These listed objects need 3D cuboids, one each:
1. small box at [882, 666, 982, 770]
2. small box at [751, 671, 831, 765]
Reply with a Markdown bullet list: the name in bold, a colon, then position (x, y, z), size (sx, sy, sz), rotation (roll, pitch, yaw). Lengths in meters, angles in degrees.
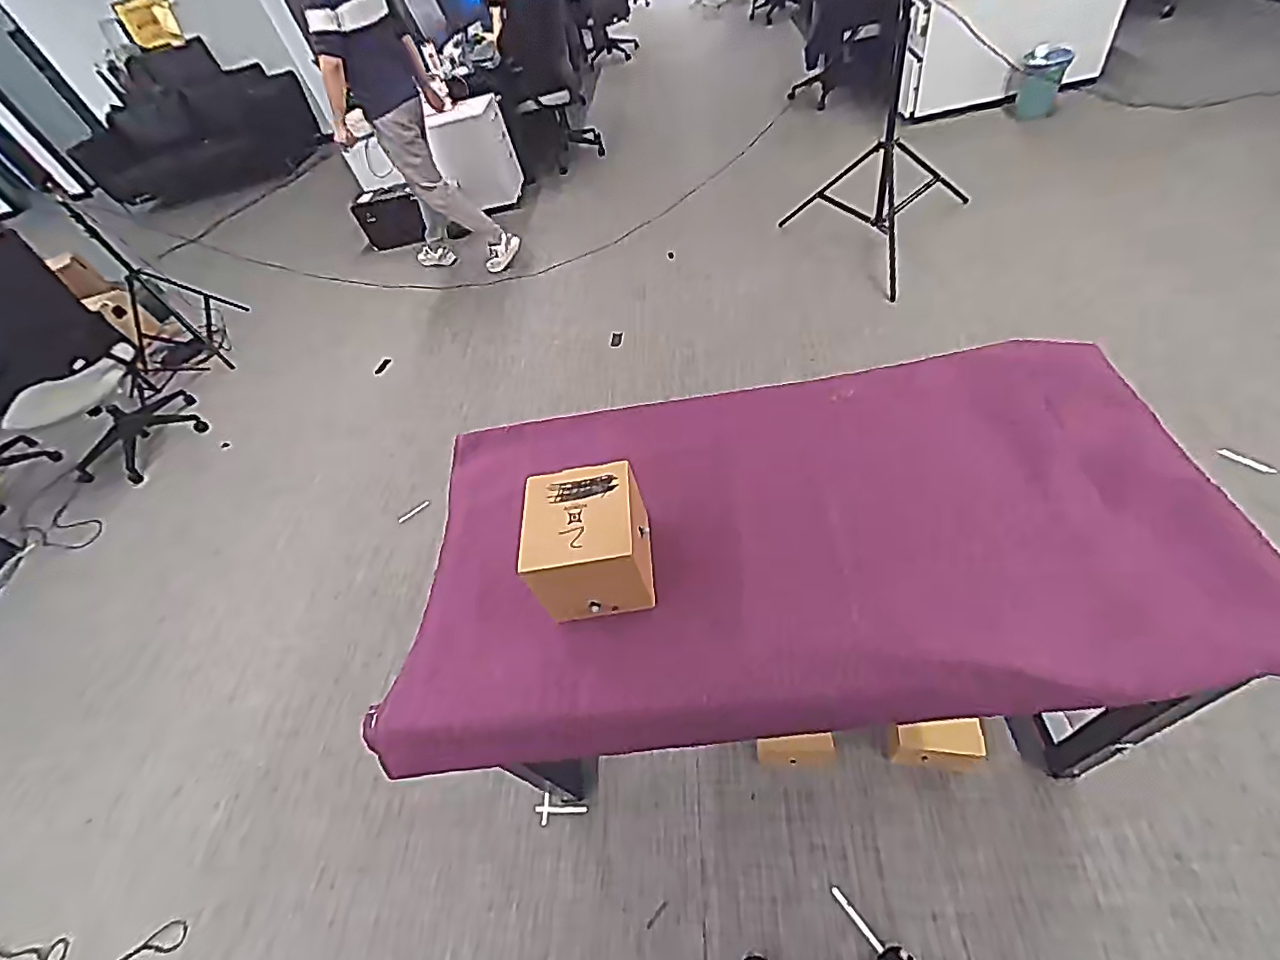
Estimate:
- **small box**: position (0.662, 0.552, 1.247), size (0.168, 0.176, 0.179), rotation (0, 51, 16)
- **small box**: position (0.360, 0.579, 1.305), size (0.168, 0.176, 0.179), rotation (-5, 50, 10)
